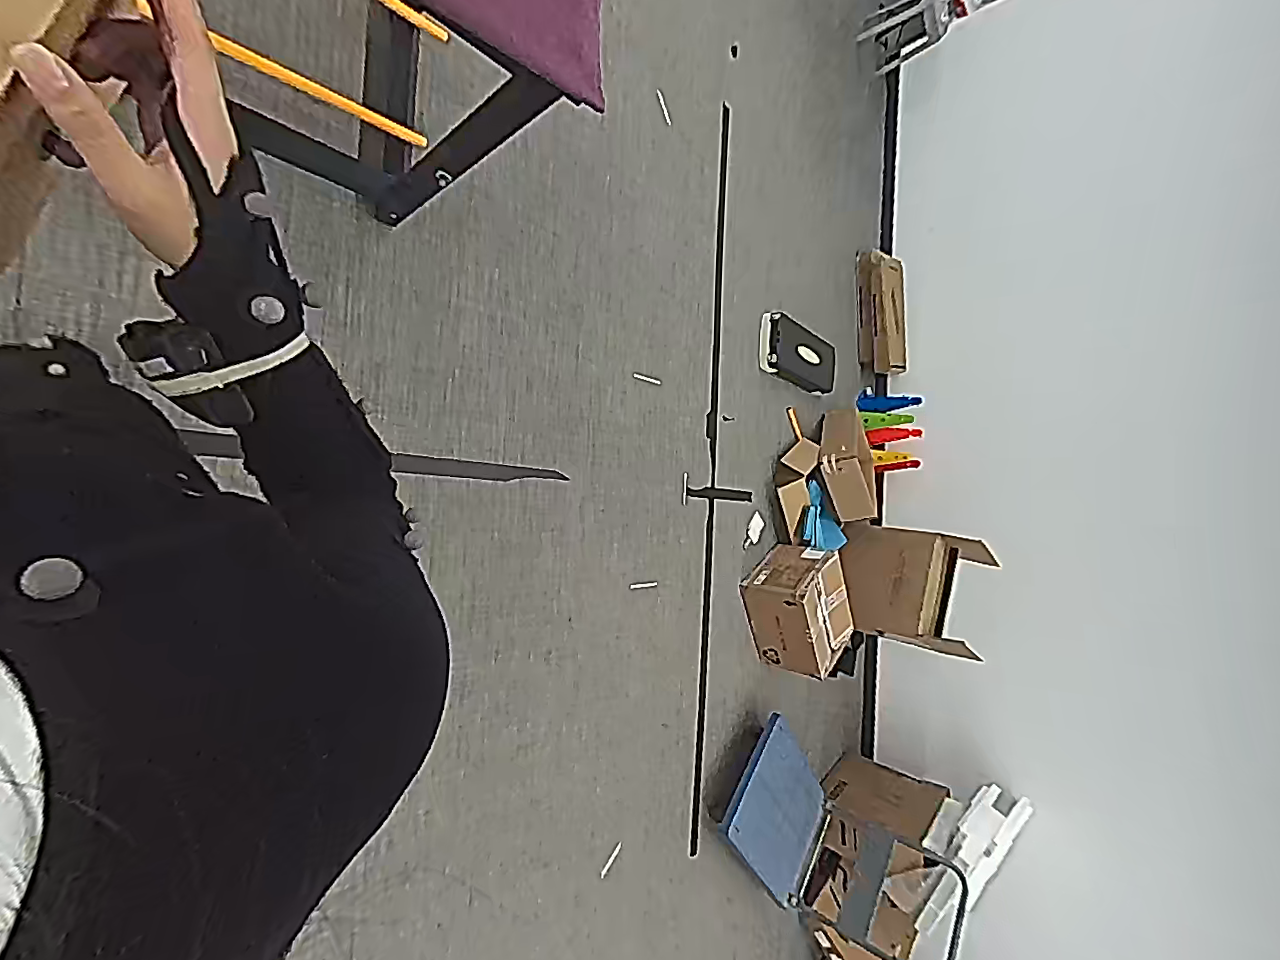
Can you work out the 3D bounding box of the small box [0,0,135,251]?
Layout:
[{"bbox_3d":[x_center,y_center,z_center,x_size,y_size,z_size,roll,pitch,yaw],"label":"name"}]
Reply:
[{"bbox_3d":[-0.351,-0.208,0.219,0.179,0.176,0.168,33,79,-43],"label":"small box"}]
